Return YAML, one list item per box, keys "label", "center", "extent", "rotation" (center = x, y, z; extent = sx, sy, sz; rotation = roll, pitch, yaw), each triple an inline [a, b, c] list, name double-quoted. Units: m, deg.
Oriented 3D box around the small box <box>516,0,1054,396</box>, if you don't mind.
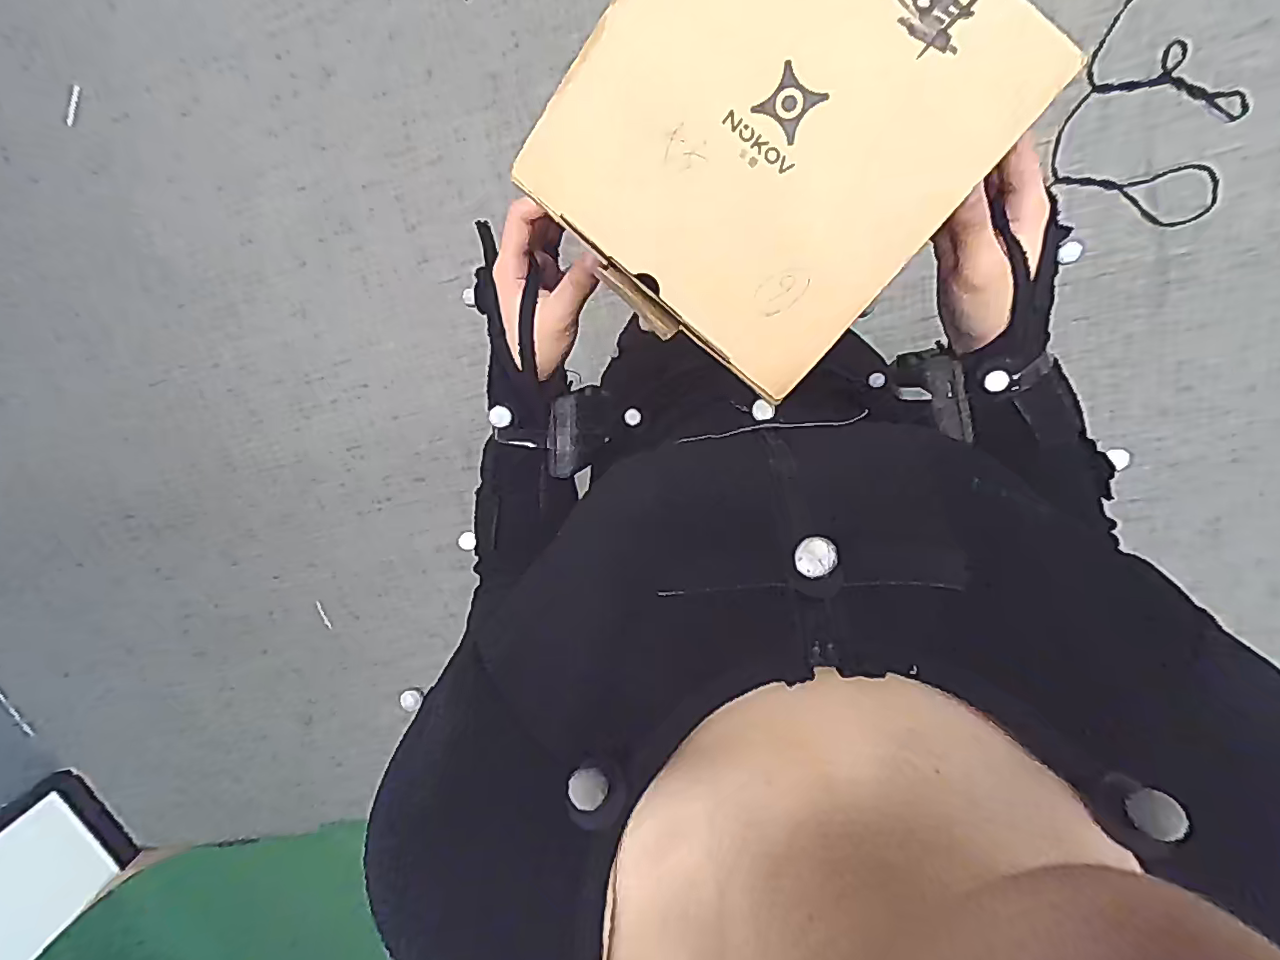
- label: "small box"
  center: [0.066, -0.172, 0.314]
  extent: [0.168, 0.176, 0.179]
  rotation: [40, 106, -3]
